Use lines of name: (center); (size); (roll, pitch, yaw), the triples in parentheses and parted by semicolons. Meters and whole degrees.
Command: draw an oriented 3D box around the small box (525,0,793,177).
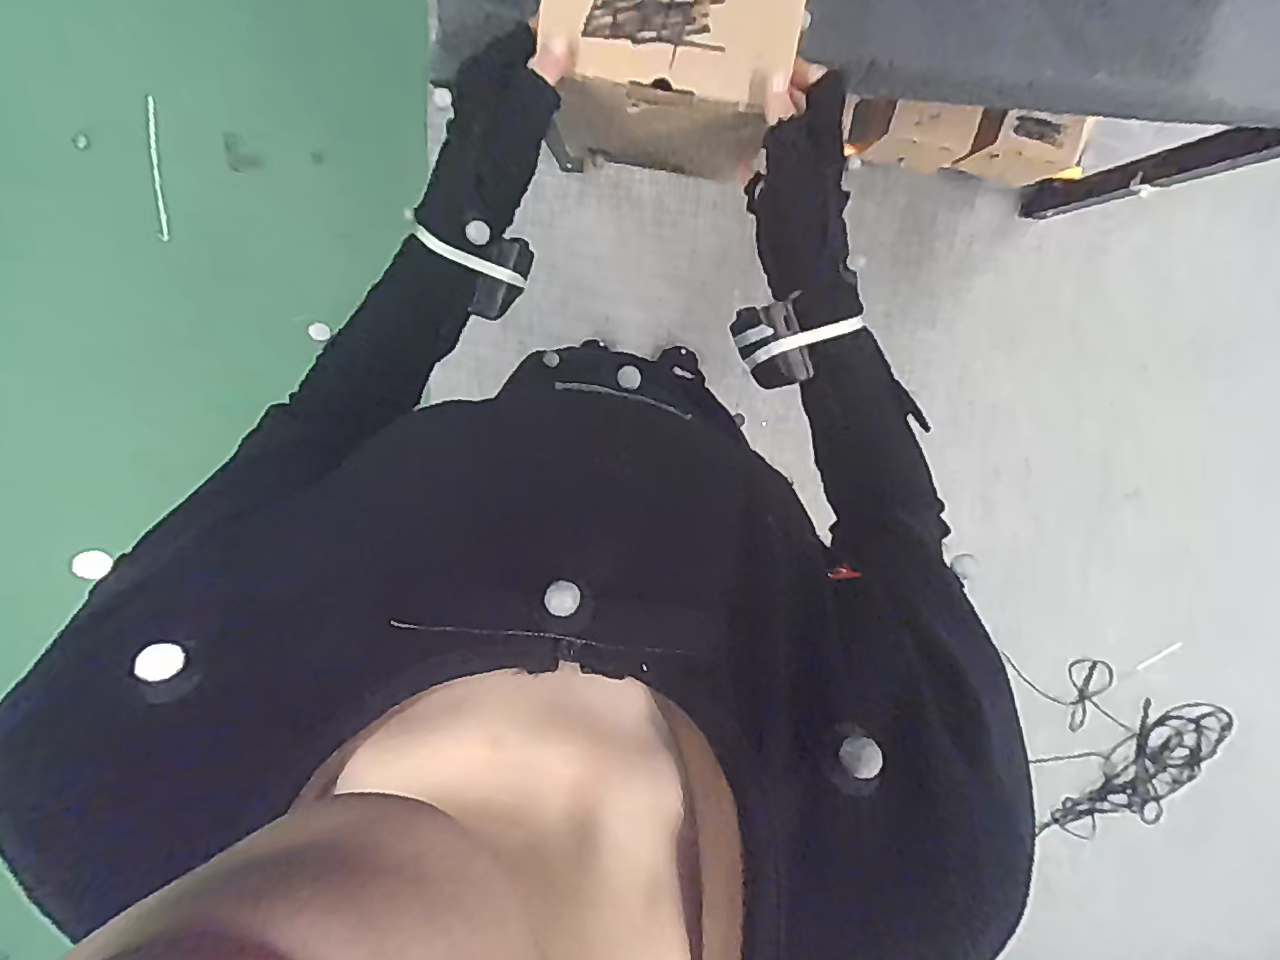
small box: (0.022, -0.352, 0.404); (0.168, 0.176, 0.179); (9, 104, -2)

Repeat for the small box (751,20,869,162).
small box: (0.329, -0.767, 1.084); (0.168, 0.176, 0.179); (8, 108, -2)
